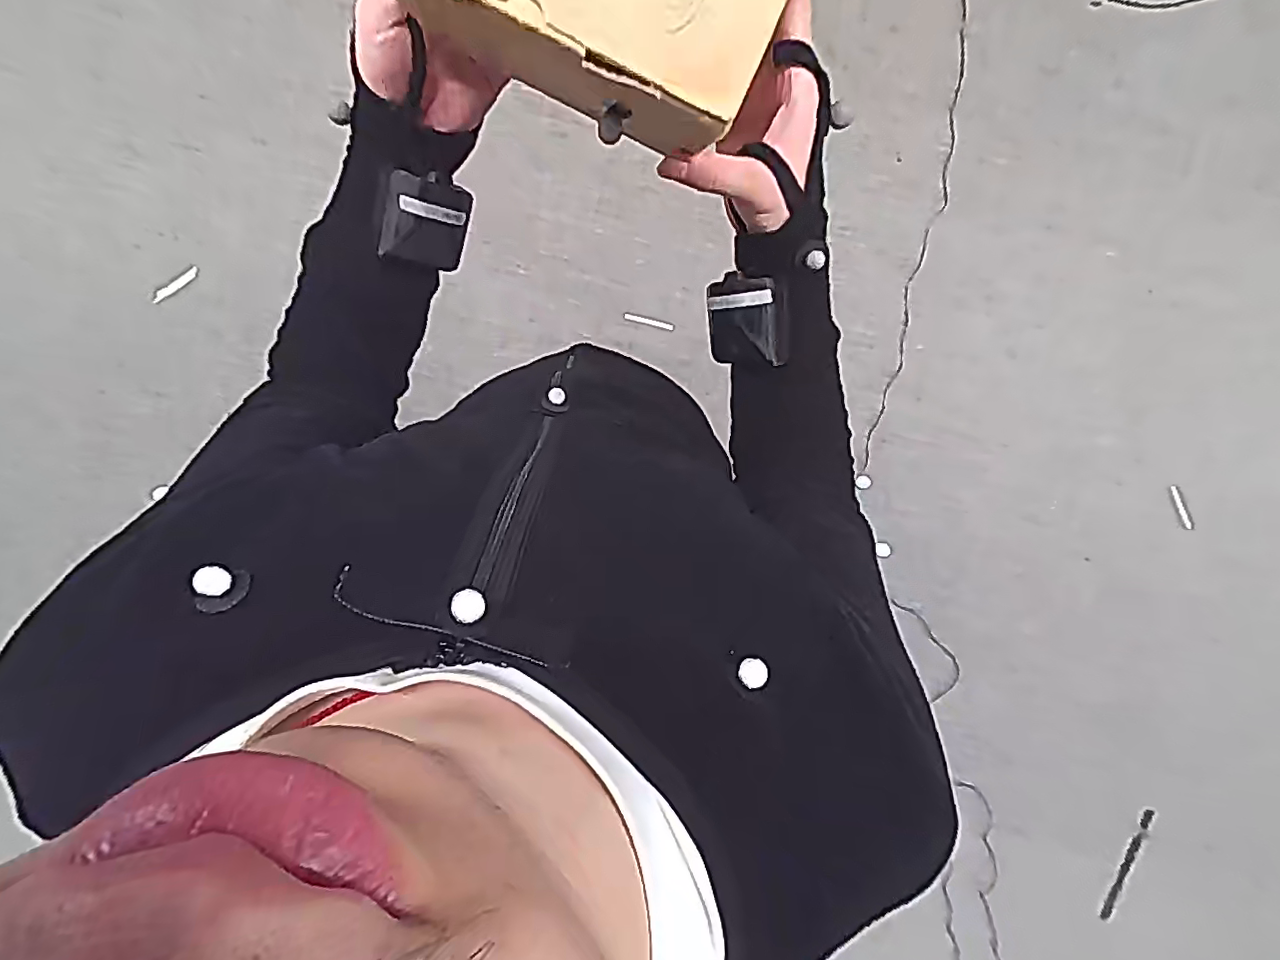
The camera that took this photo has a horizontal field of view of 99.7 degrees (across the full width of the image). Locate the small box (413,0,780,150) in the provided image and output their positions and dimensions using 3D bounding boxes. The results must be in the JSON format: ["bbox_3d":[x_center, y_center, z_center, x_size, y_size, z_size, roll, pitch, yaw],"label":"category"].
[{"bbox_3d":[-0.010,-0.273,0.236,0.168,0.176,0.179,19,114,-13],"label":"small box"}]
